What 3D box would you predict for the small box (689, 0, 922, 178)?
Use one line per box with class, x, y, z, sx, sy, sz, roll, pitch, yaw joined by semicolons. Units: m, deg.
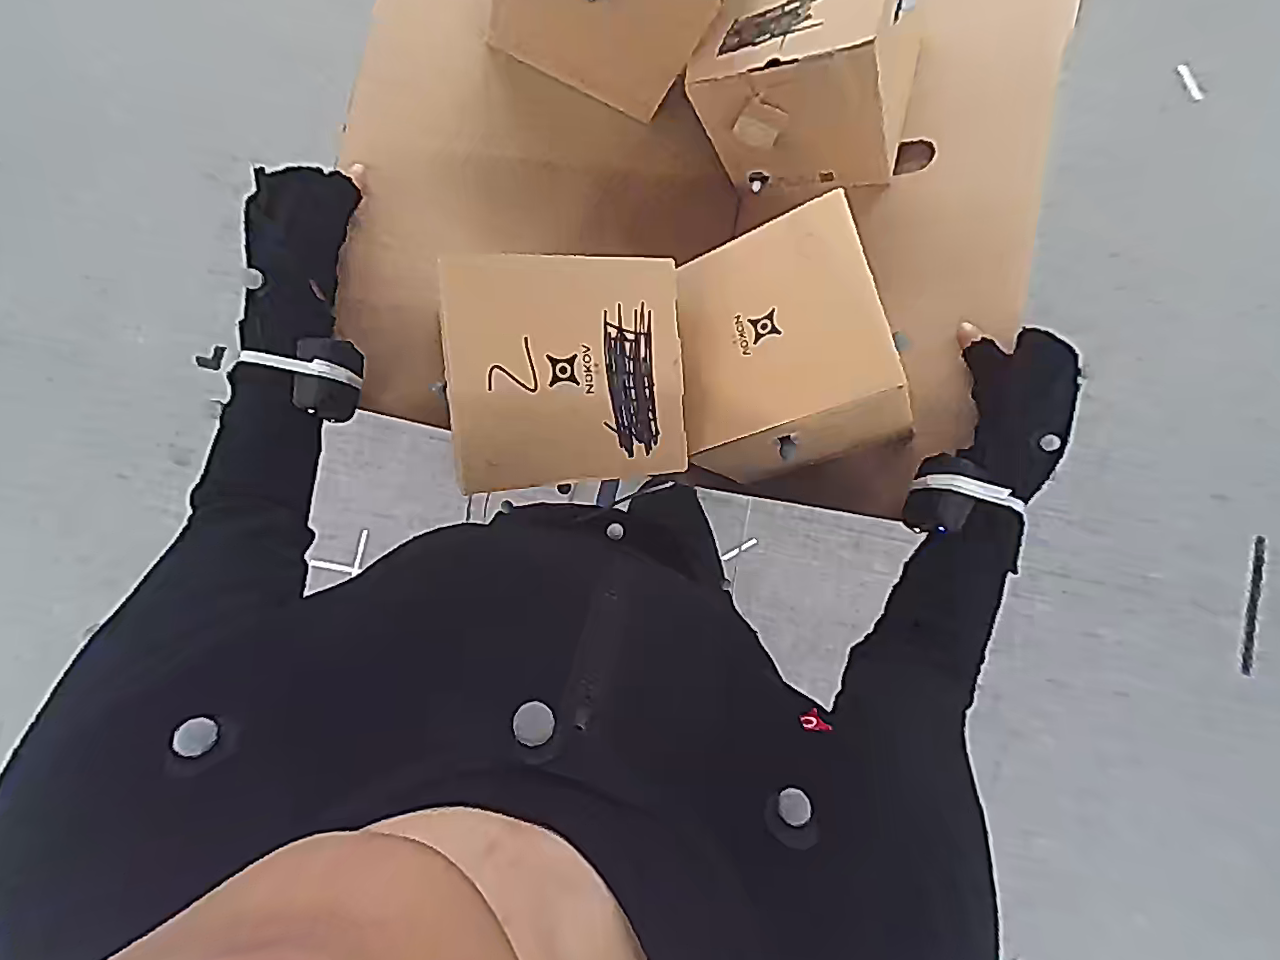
small box;0.171;-0.424;0.529;0.168;0.176;0.179;12;86;30
